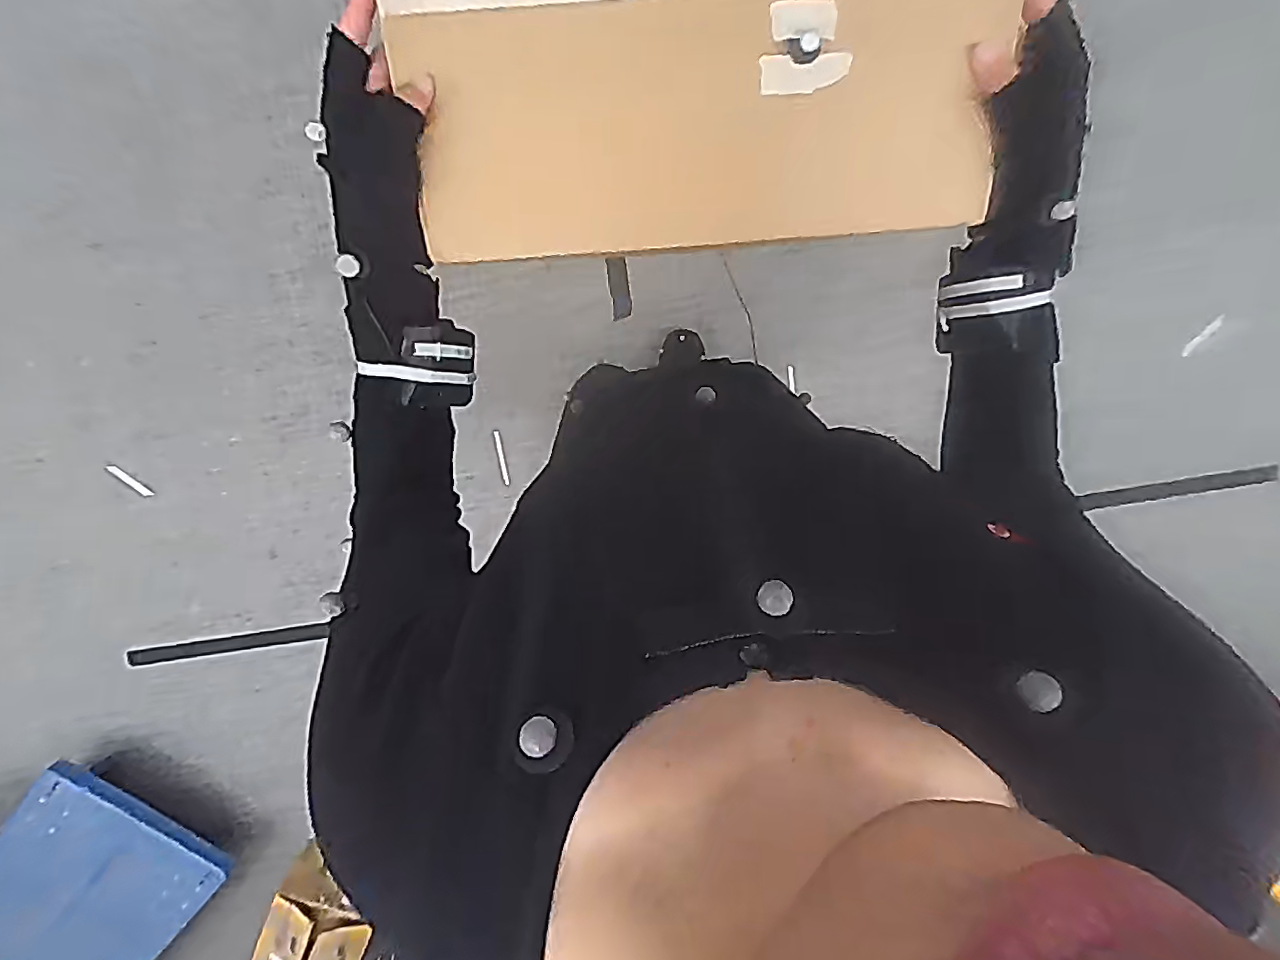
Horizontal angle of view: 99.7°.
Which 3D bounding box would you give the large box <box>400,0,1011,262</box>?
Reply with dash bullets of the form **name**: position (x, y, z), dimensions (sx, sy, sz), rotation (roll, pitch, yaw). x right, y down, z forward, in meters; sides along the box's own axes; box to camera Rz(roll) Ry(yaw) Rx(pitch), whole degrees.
- **large box**: position (0.038, -0.378, 0.482), dimensions (0.408, 0.320, 0.320), rotation (-4, 112, 0)
